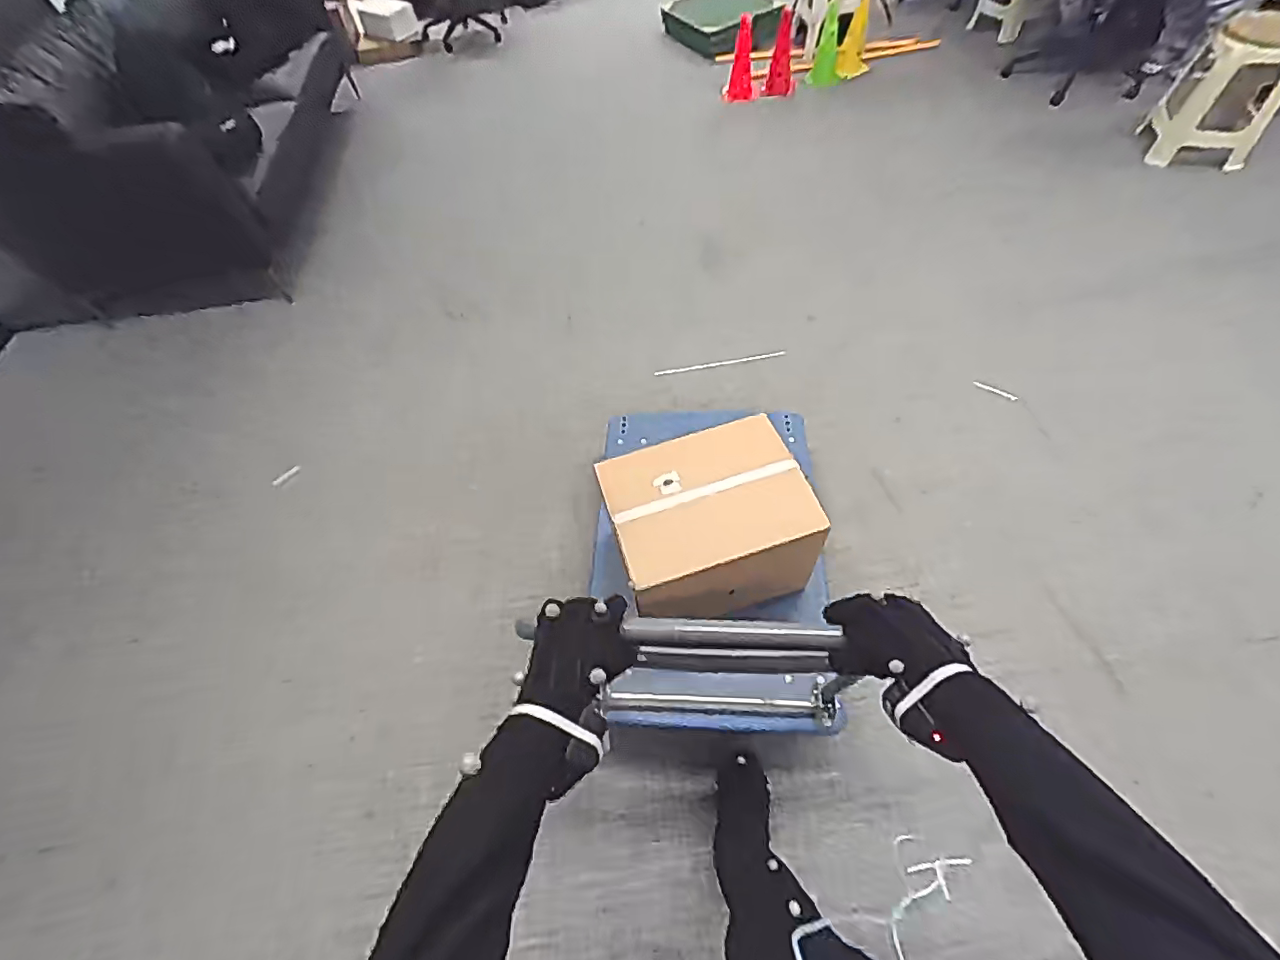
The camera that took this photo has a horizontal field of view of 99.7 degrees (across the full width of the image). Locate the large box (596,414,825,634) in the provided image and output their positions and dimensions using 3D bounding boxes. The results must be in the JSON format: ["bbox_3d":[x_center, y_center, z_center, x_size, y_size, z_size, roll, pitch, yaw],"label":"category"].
[{"bbox_3d":[0.151,0.109,1.250,0.408,0.320,0.320,-18,56,-5],"label":"large box"}]
